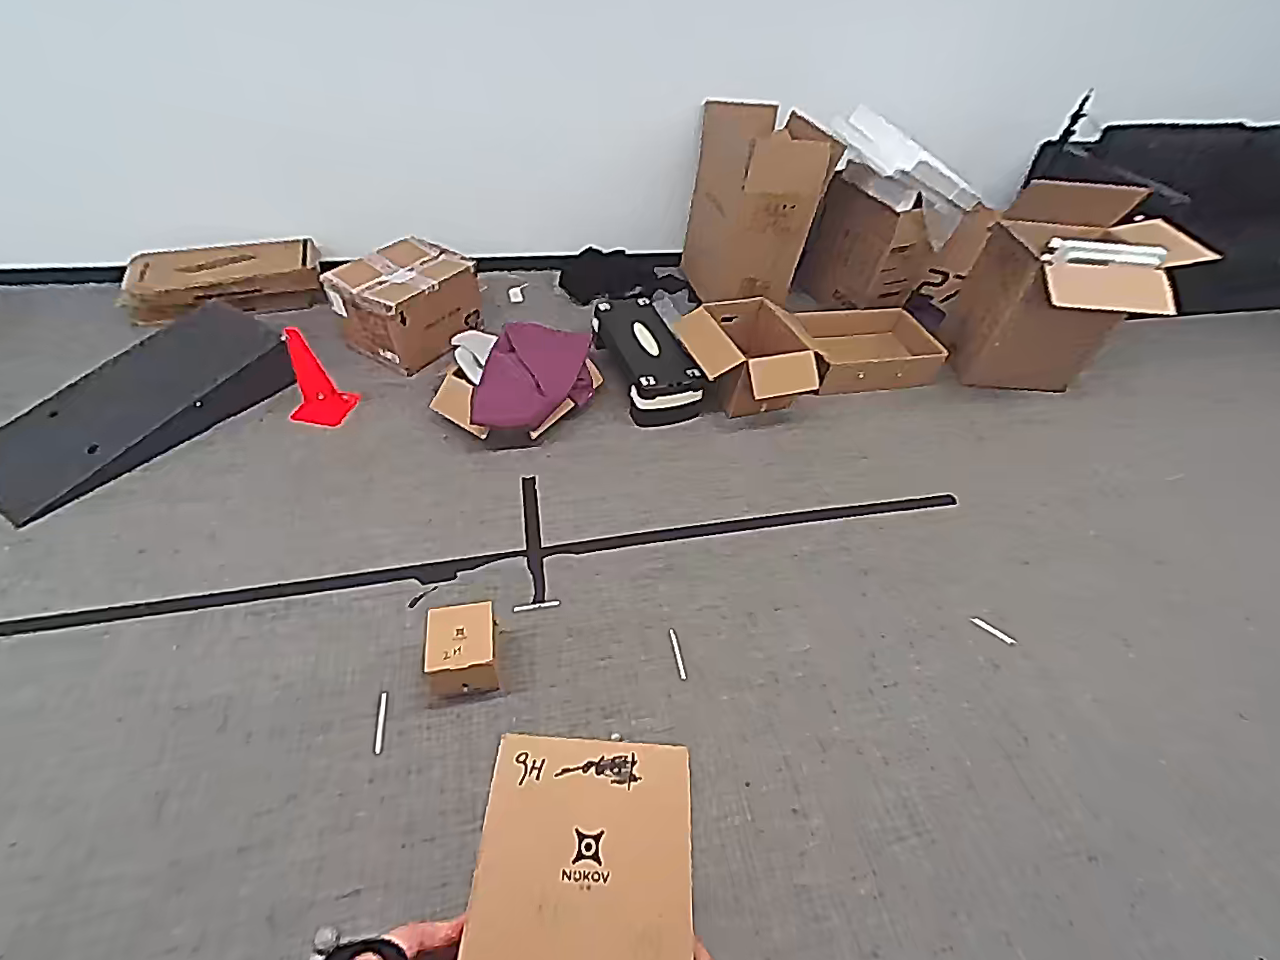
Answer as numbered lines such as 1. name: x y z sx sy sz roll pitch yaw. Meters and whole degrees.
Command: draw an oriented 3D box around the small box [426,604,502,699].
1. small box: -0.463 0.456 1.440 0.168 0.176 0.179 -6 49 -10
